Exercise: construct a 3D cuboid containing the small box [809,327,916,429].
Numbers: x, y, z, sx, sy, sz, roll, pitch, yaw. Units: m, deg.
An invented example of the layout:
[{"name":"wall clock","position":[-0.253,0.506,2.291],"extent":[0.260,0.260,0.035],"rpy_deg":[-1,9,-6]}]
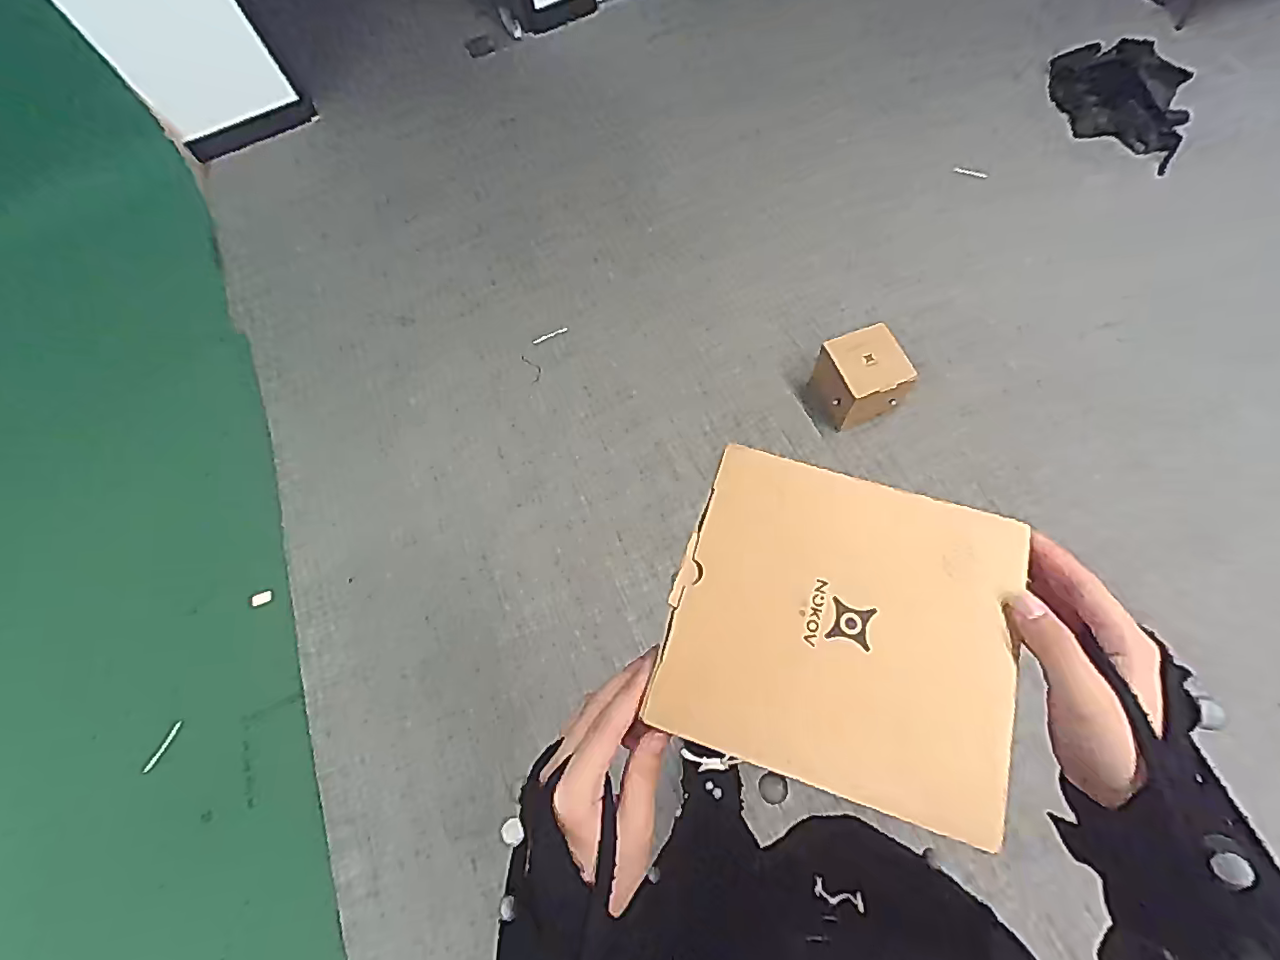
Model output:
[{"name":"small box","position":[0.553,-0.249,1.369],"extent":[0.168,0.176,0.179],"rpy_deg":[-19,66,-4]}]
